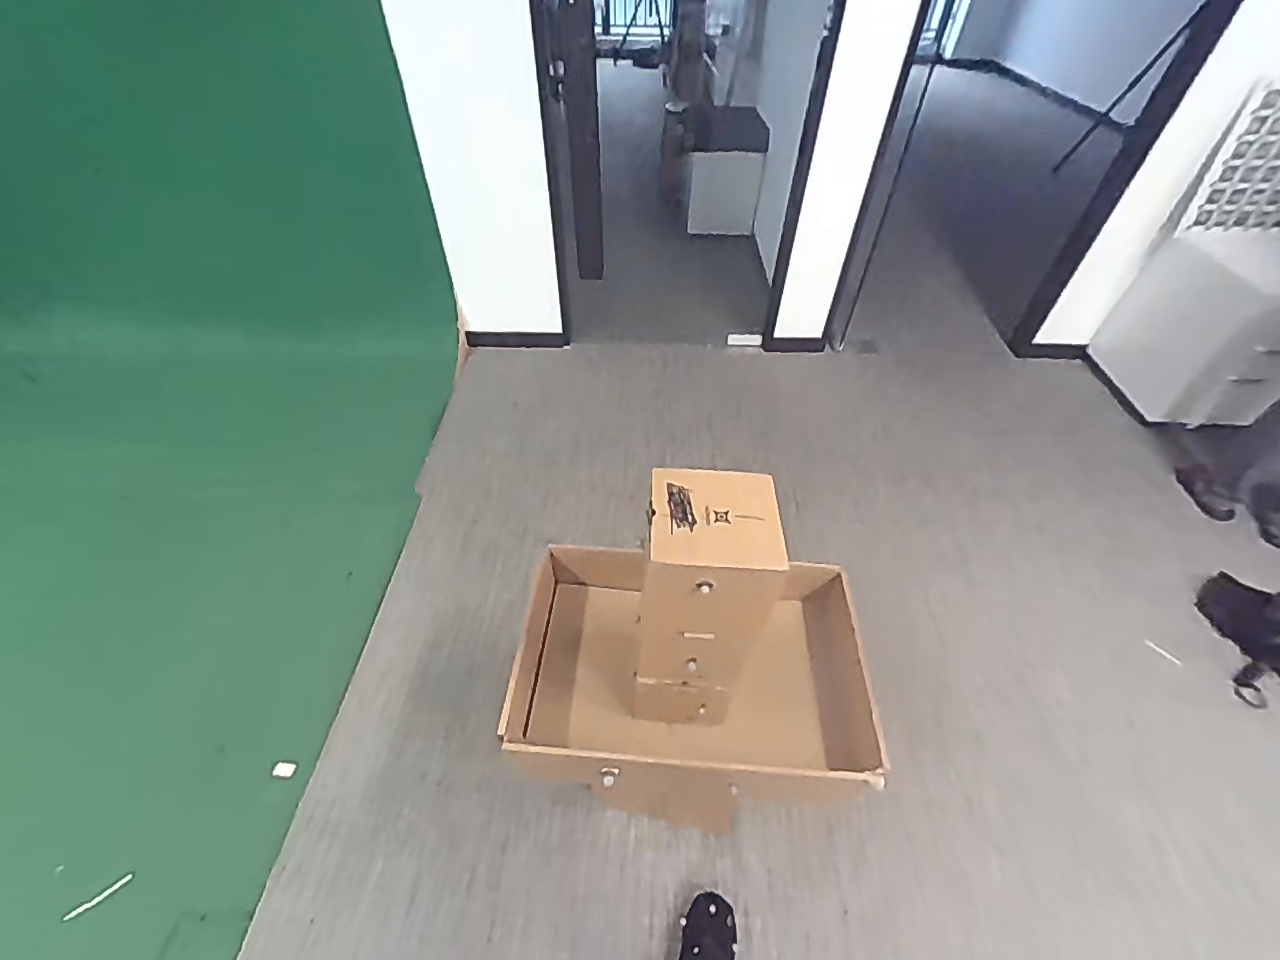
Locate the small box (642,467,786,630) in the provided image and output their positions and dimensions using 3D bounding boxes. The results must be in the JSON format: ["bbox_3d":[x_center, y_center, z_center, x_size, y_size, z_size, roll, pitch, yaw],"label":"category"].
[{"bbox_3d":[0.095,0.101,0.779,0.179,0.176,0.168,4,47,-2],"label":"small box"}]

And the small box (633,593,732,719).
[{"bbox_3d":[0.076,0.330,1.015,0.168,0.176,0.179,4,45,0],"label":"small box"}]

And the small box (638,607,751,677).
[{"bbox_3d":[0.085,0.212,0.901,0.168,0.176,0.179,5,48,0],"label":"small box"}]
